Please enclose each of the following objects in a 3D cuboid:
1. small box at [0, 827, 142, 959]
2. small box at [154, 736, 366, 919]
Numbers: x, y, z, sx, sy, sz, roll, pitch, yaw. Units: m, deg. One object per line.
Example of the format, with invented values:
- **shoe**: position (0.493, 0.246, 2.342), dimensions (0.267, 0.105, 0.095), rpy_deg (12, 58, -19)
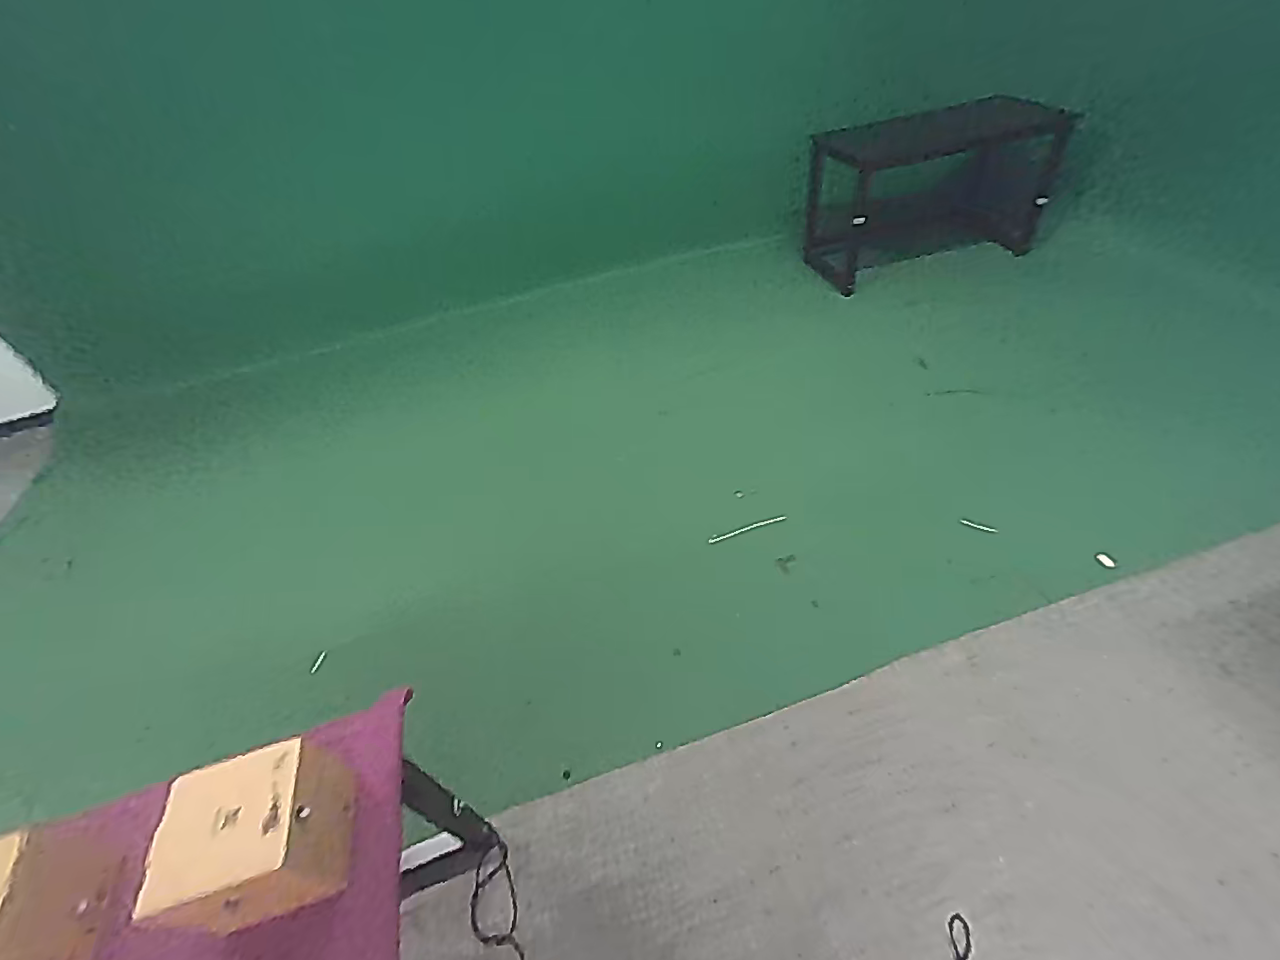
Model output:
- **small box**: position (-0.871, 0.622, 0.755), dimensions (0.179, 0.176, 0.168), rpy_deg (-19, 48, -8)
- **small box**: position (-0.535, 0.512, 0.793), dimensions (0.179, 0.176, 0.168), rpy_deg (-17, 47, -6)
